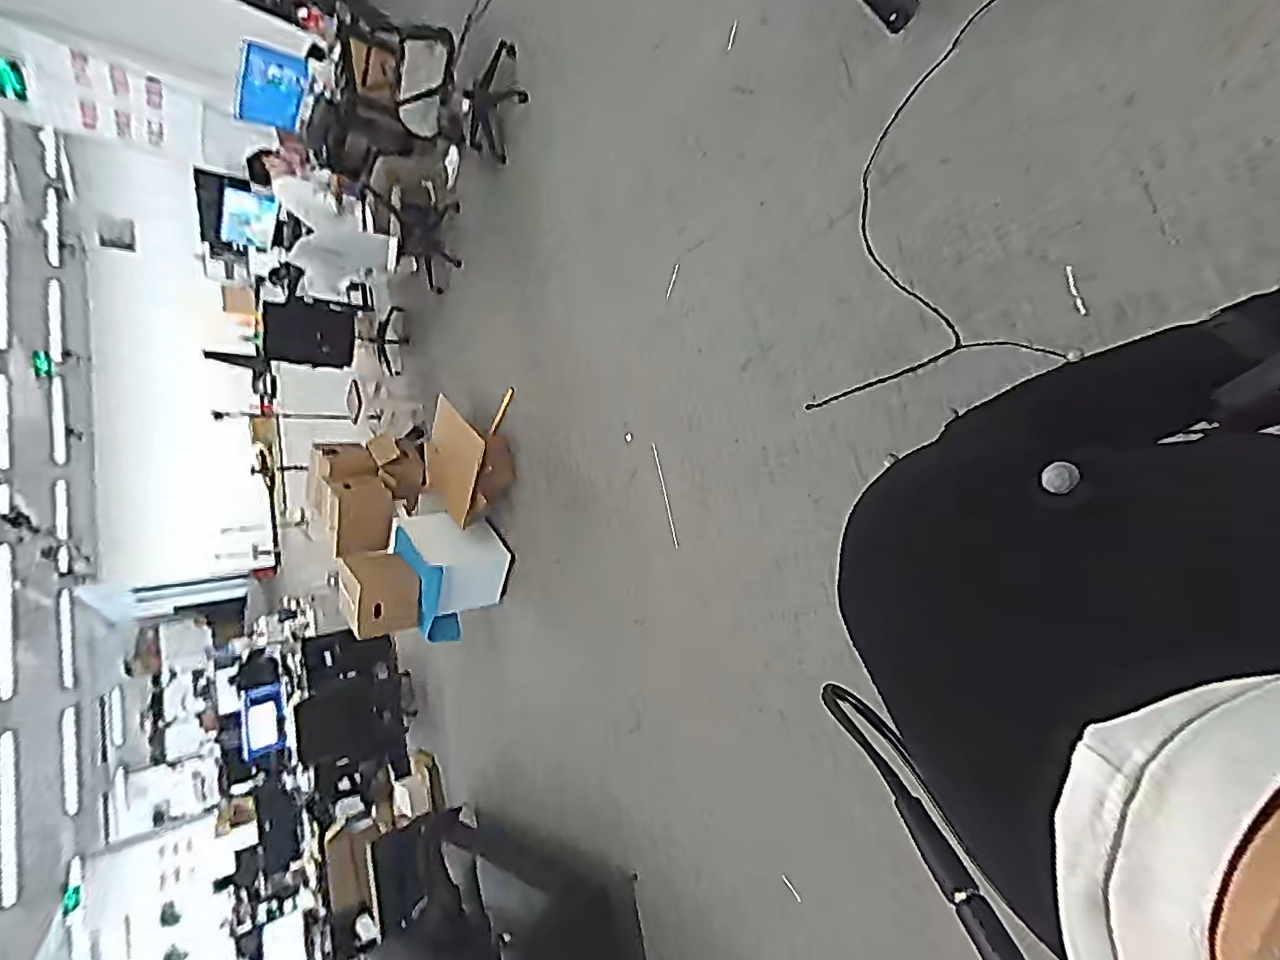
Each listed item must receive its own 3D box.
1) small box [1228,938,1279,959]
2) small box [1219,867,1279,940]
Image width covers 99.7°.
[{"bbox_3d":[1.108,0.874,0.868,0.168,0.176,0.179,-51,56,36],"label":"small box"},{"bbox_3d":[1.218,0.841,0.988,0.168,0.176,0.179,-40,64,41],"label":"small box"}]
